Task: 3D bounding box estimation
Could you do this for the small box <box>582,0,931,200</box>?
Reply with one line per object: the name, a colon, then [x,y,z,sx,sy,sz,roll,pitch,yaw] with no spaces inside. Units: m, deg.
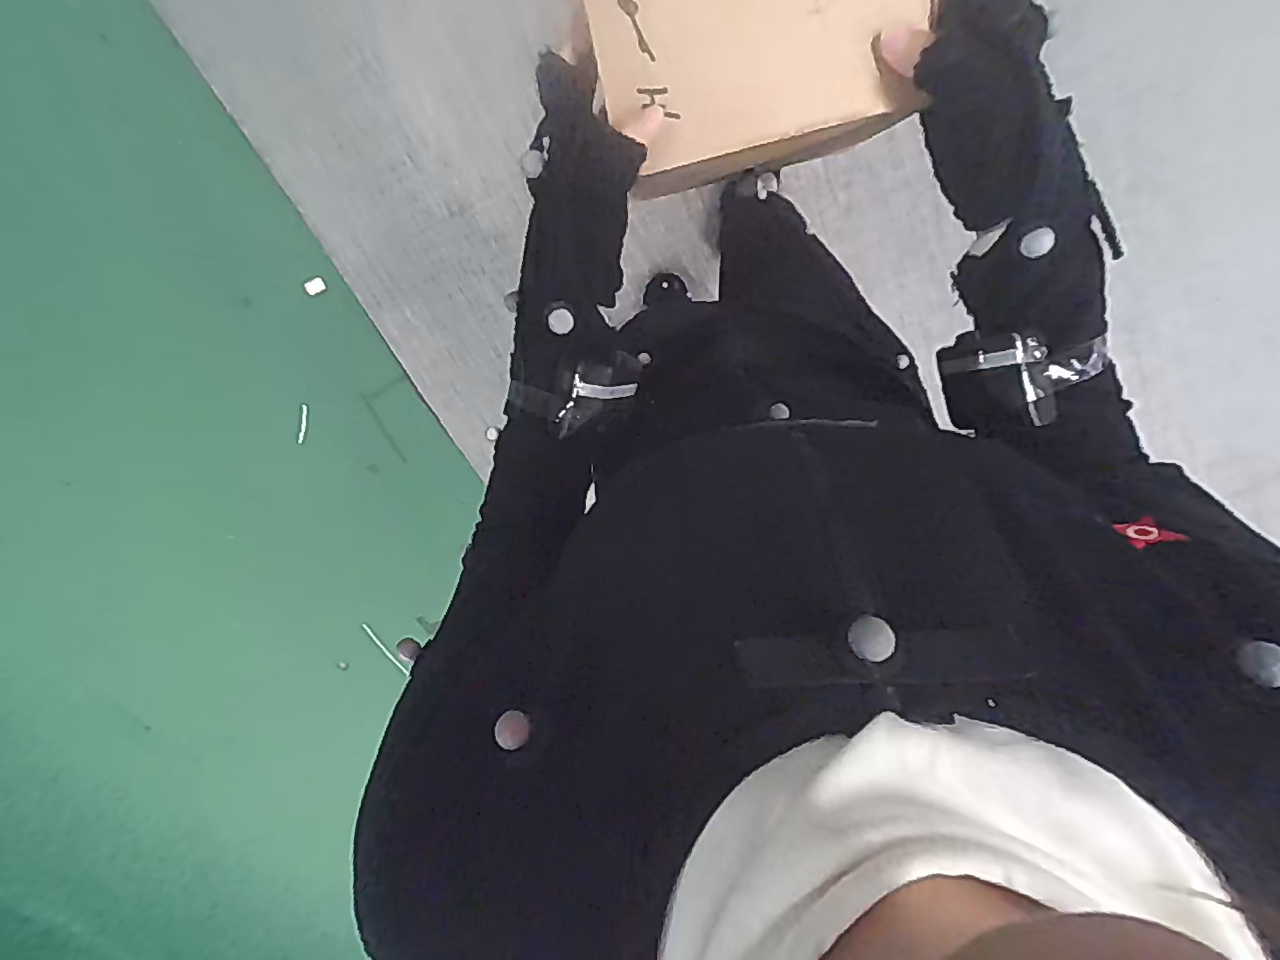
small box: [0.059,-0.295,0.349,0.179,0.176,0.168,-12,112,9]
